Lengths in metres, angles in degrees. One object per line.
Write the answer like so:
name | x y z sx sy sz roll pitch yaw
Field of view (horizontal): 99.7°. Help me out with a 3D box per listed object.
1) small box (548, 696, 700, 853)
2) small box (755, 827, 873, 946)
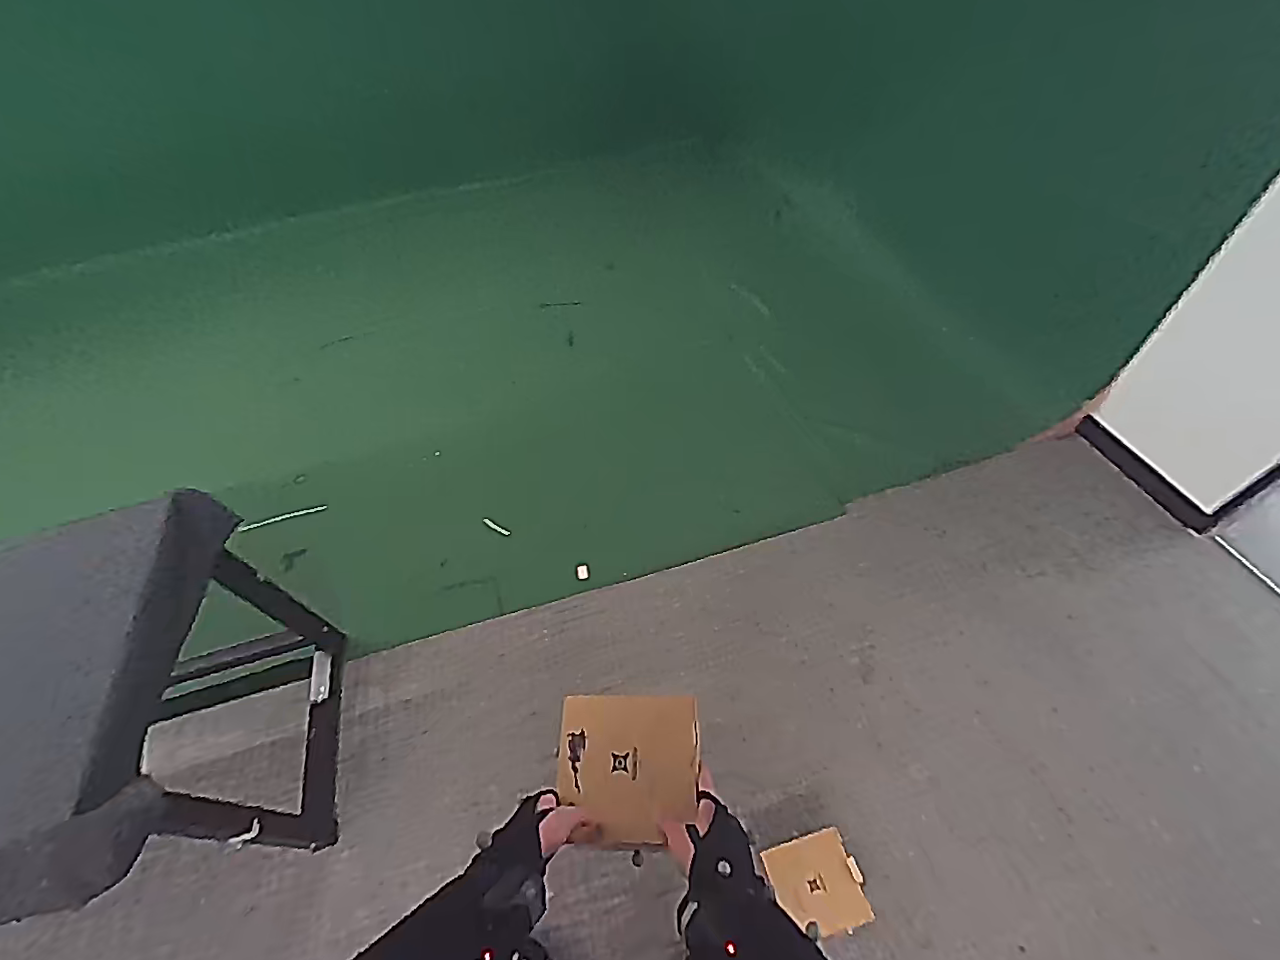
small box | -0.012 0.398 0.728 0.179 0.176 0.168 -3 53 5
small box | 0.360 0.864 1.155 0.179 0.176 0.168 -13 51 -4
